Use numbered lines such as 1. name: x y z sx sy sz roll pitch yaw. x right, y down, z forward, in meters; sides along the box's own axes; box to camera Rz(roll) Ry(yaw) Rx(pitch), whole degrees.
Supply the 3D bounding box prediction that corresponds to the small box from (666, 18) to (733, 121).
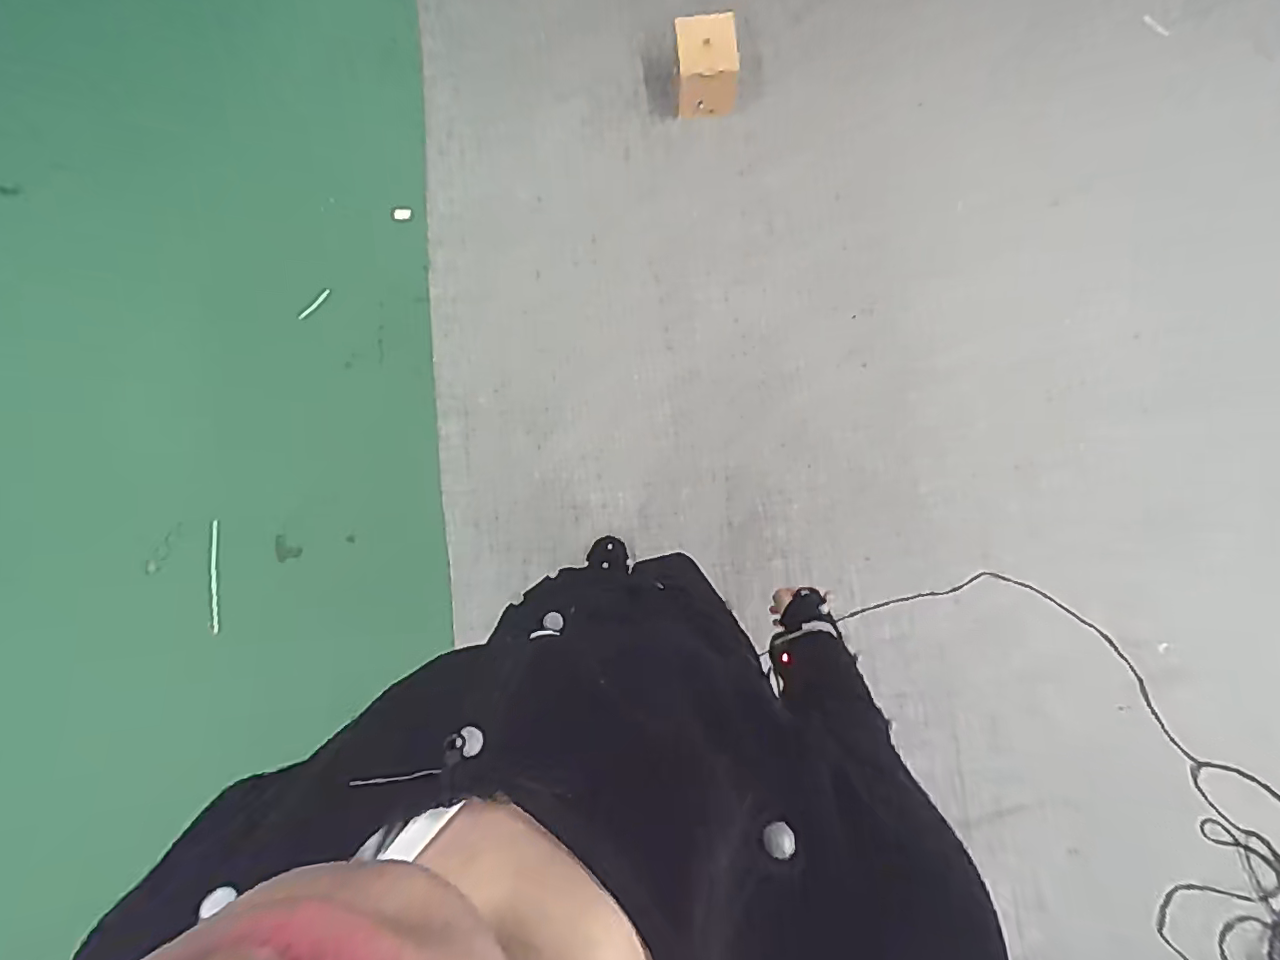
1. small box: 0.170 -1.202 1.590 0.168 0.176 0.179 -6 85 -1
